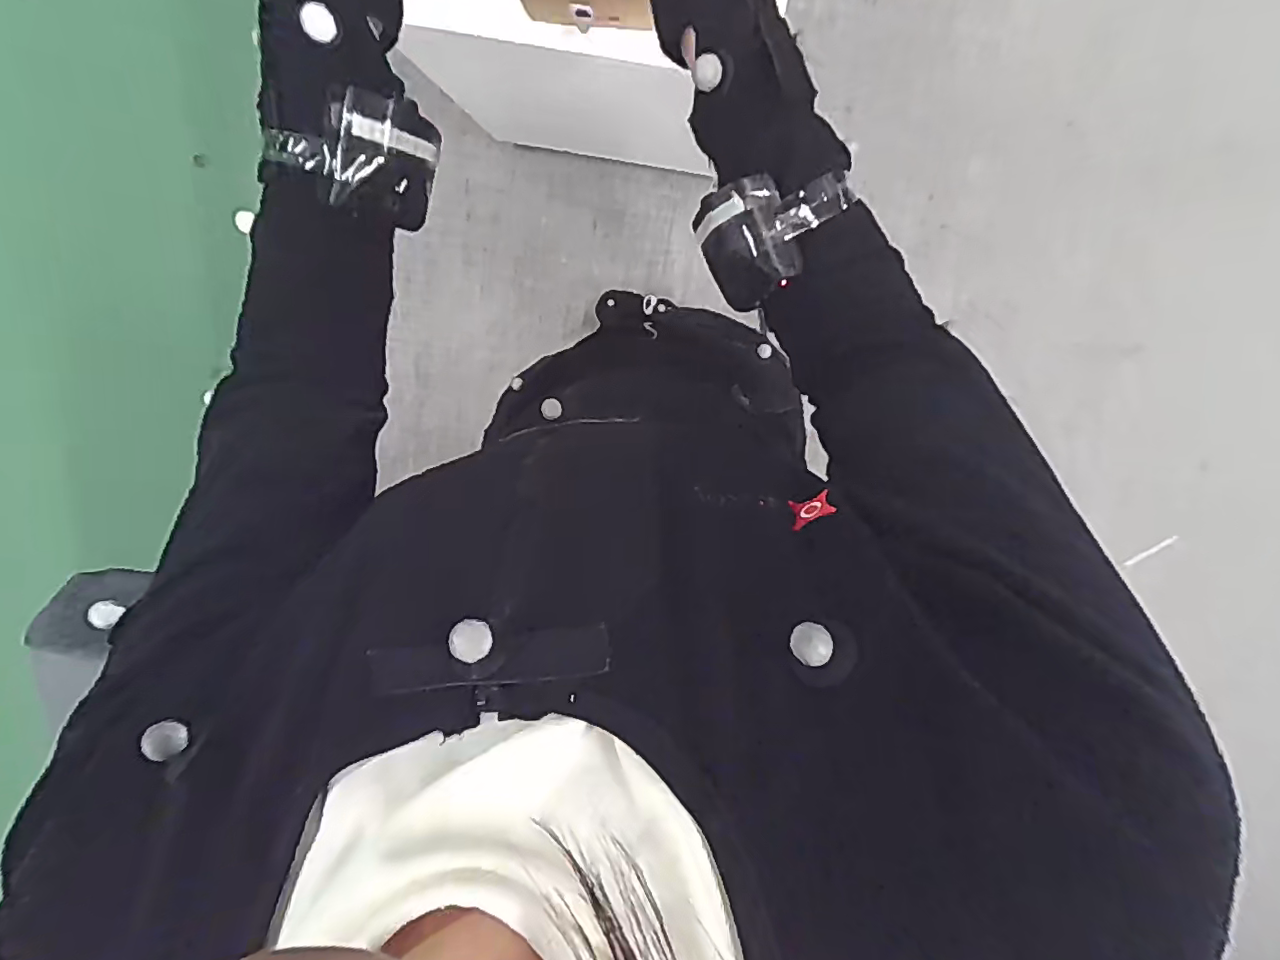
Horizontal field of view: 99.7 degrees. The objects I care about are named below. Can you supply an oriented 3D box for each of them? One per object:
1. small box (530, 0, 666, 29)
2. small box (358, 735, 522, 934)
[{"bbox_3d":[-0.051,-0.601,0.543,0.168,0.176,0.179,5,110,3],"label":"small box"},{"bbox_3d":[-0.281,0.504,0.787,0.179,0.176,0.168,11,109,0],"label":"small box"}]
